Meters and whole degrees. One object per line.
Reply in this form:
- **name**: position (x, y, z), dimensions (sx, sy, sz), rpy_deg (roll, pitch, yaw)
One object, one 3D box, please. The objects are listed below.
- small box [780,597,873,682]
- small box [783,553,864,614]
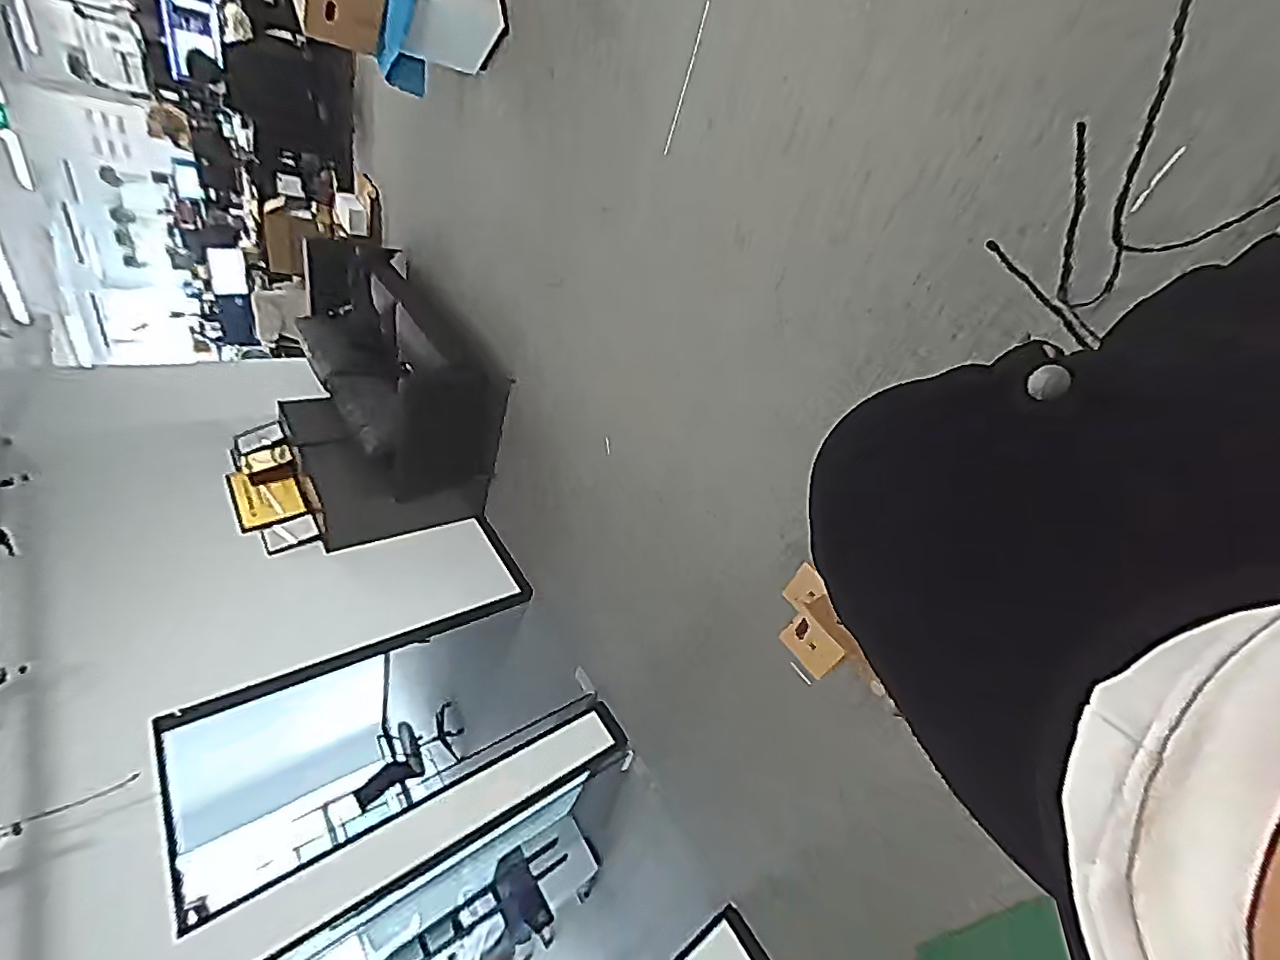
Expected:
- **small box**: position (0.579, 0.484, 1.677), dimensions (0.179, 0.176, 0.168), rpy_deg (49, 134, 30)
- **small box**: position (0.631, 0.377, 1.846), dimensions (0.168, 0.176, 0.179), rpy_deg (48, 134, 31)
